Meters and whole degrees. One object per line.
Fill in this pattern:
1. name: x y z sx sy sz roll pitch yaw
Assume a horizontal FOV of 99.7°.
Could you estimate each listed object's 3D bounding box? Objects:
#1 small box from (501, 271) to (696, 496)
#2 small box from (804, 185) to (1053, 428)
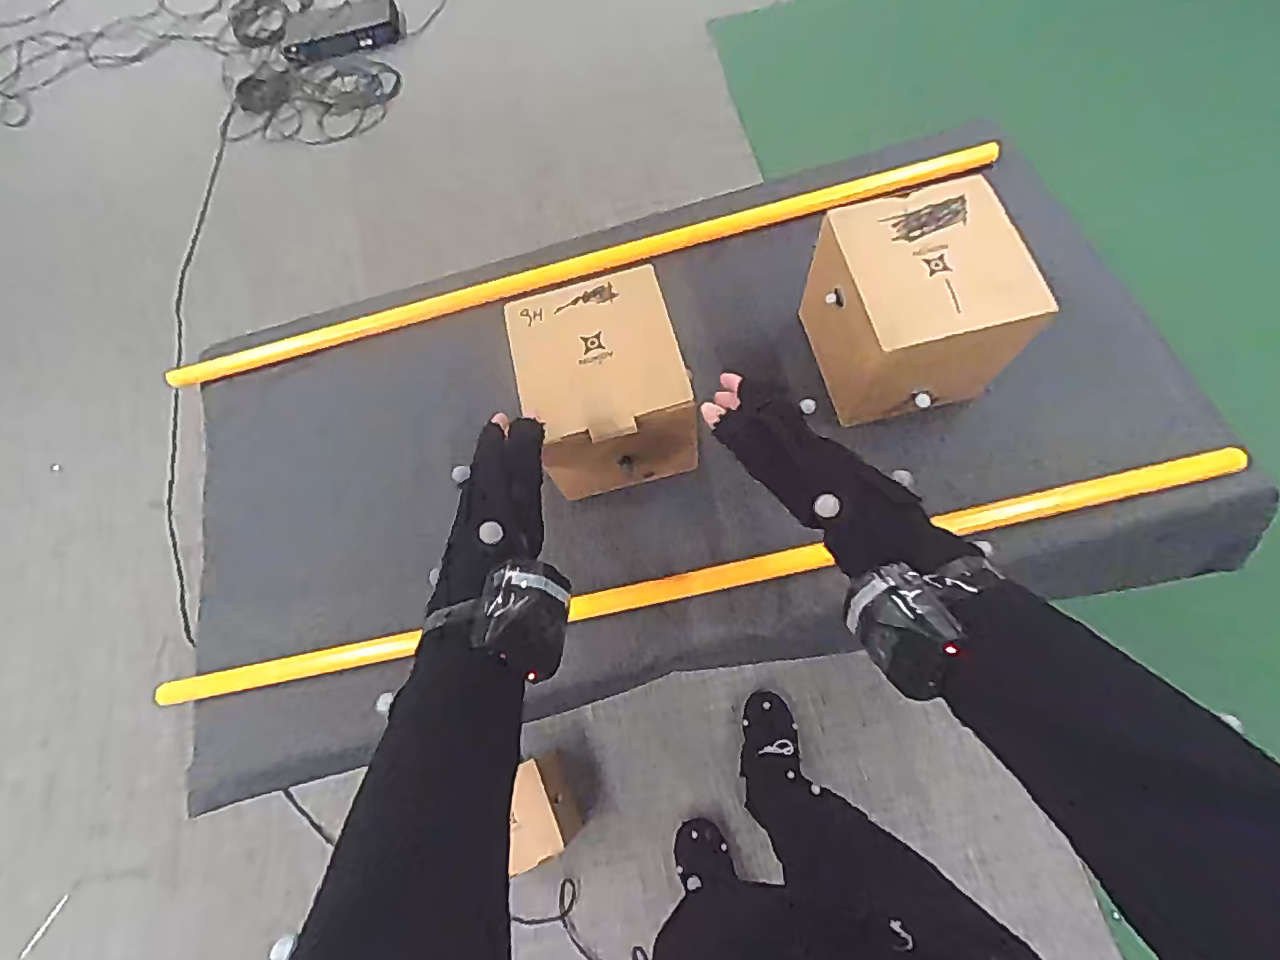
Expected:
1. small box: -0.038 -0.095 0.620 0.168 0.176 0.179 -18 68 2
2. small box: 0.296 -0.183 0.606 0.168 0.176 0.179 -13 69 3
